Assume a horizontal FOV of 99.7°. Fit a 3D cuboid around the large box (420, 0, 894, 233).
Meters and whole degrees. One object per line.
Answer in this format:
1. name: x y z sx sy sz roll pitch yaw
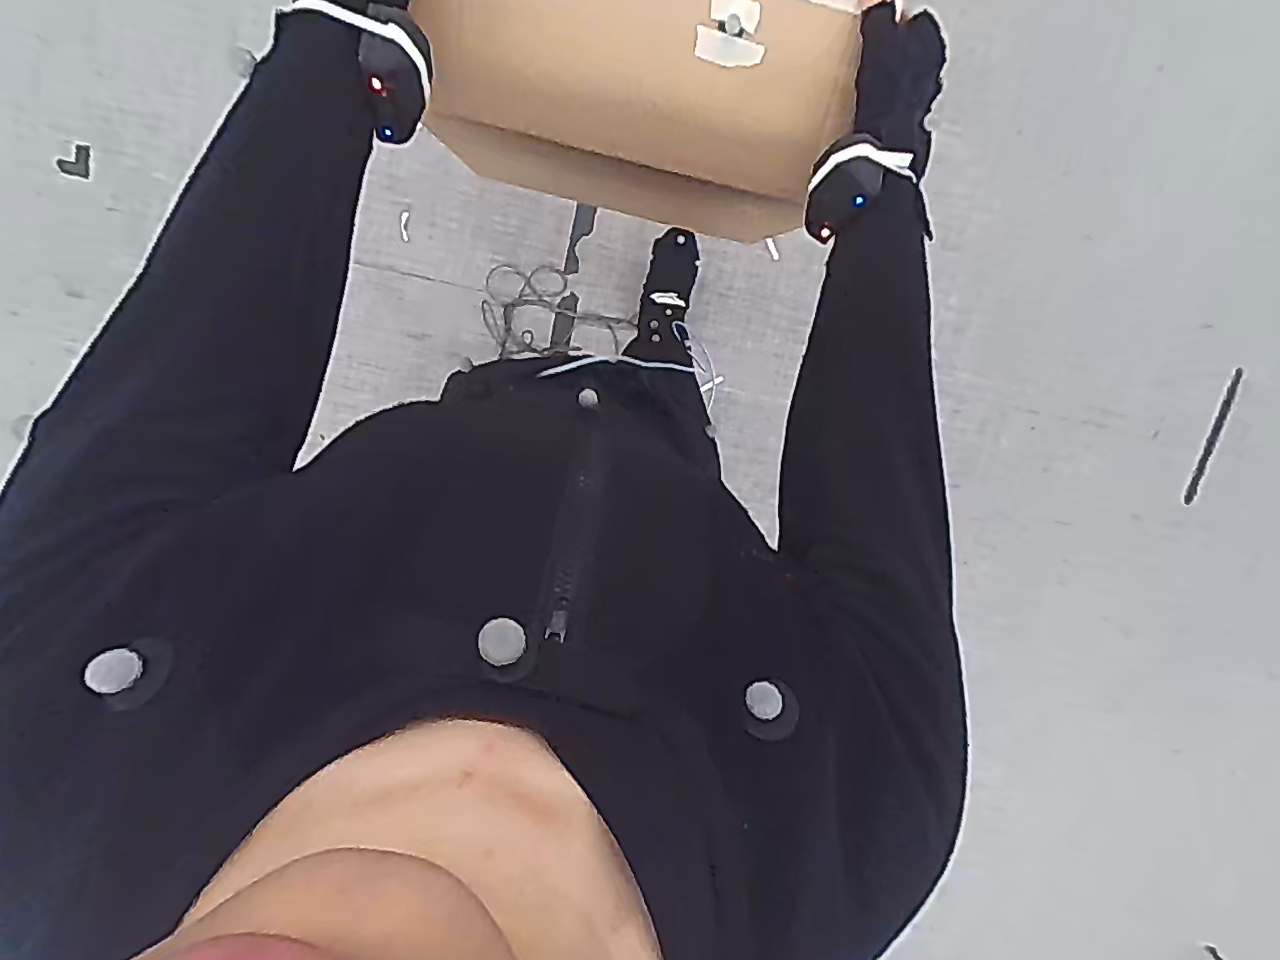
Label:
1. large box: 0.014 -0.488 0.592 0.408 0.320 0.320 10 109 -8
